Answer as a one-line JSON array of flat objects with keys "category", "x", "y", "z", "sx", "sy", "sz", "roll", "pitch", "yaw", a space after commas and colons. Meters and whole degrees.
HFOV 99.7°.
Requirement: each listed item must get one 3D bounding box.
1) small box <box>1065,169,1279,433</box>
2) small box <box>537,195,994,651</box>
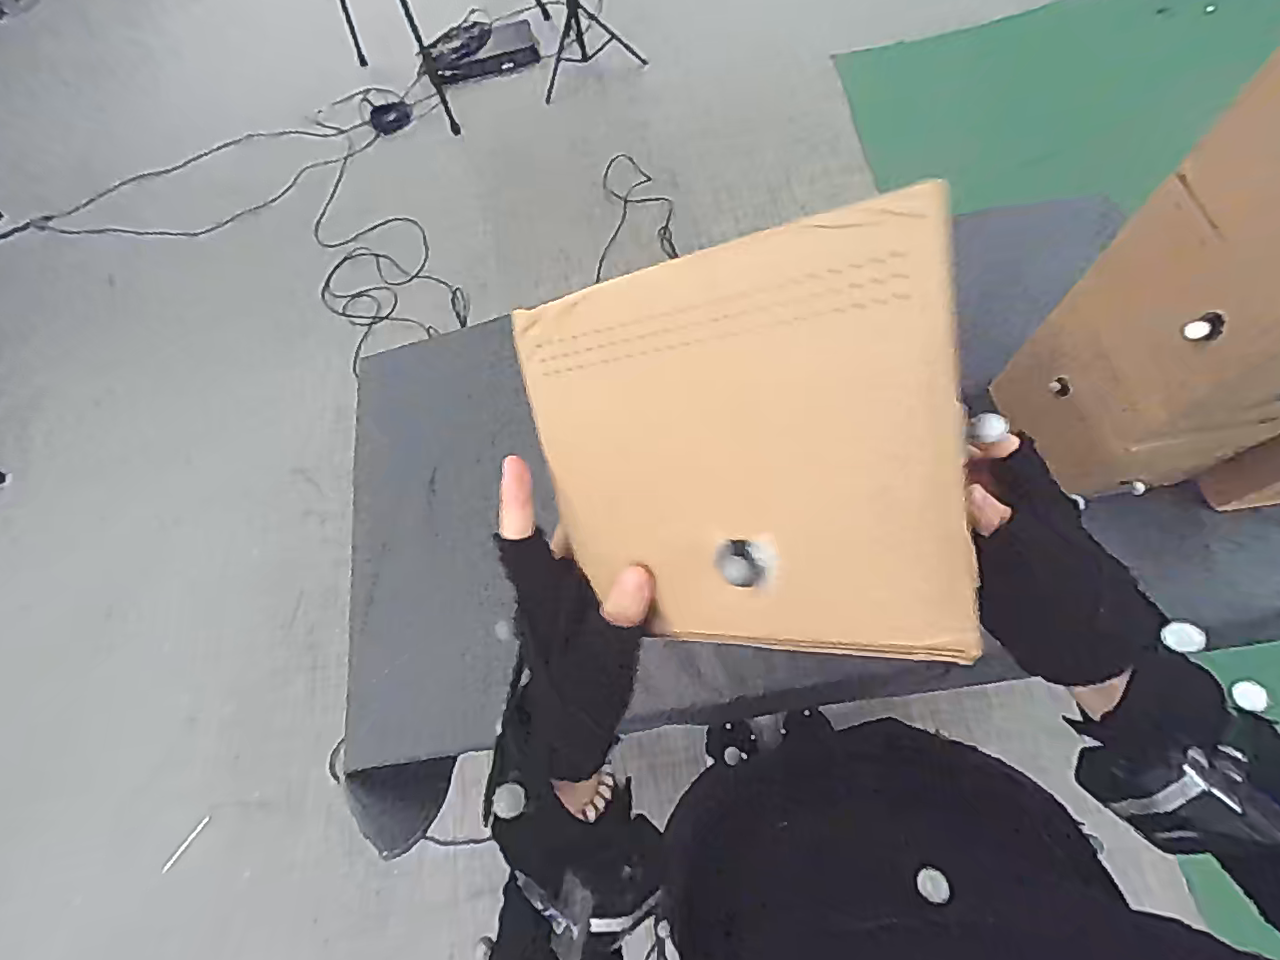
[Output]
[{"category": "small box", "x": 0.531, "y": -0.153, "z": 0.474, "sx": 0.168, "sy": 0.176, "sz": 0.179, "roll": -8, "pitch": 66, "yaw": 6}, {"category": "small box", "x": 0.072, "y": -0.032, "z": 0.289, "sx": 0.179, "sy": 0.168, "sz": 0.176, "roll": -5, "pitch": 105, "yaw": 28}]
